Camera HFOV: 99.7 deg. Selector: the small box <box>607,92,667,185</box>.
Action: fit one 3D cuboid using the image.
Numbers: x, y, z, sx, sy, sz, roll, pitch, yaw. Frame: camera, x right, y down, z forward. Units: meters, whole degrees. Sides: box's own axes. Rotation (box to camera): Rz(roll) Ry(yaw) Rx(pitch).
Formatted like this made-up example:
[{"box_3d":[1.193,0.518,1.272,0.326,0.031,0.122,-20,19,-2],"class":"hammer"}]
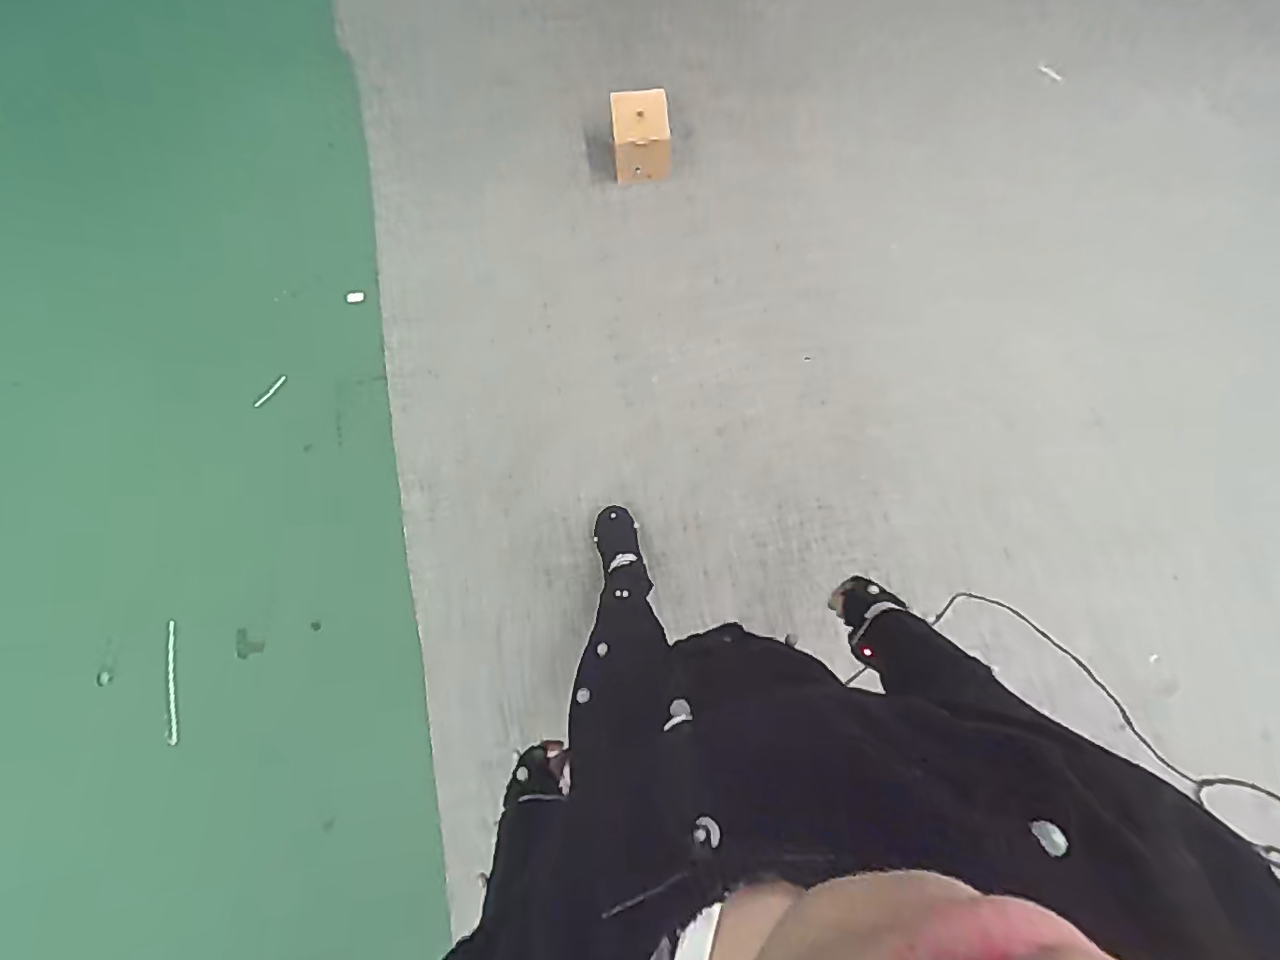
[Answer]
[{"box_3d":[-0.012,-1.050,1.670,0.168,0.176,0.179,-6,79,-2],"class":"small box"}]
